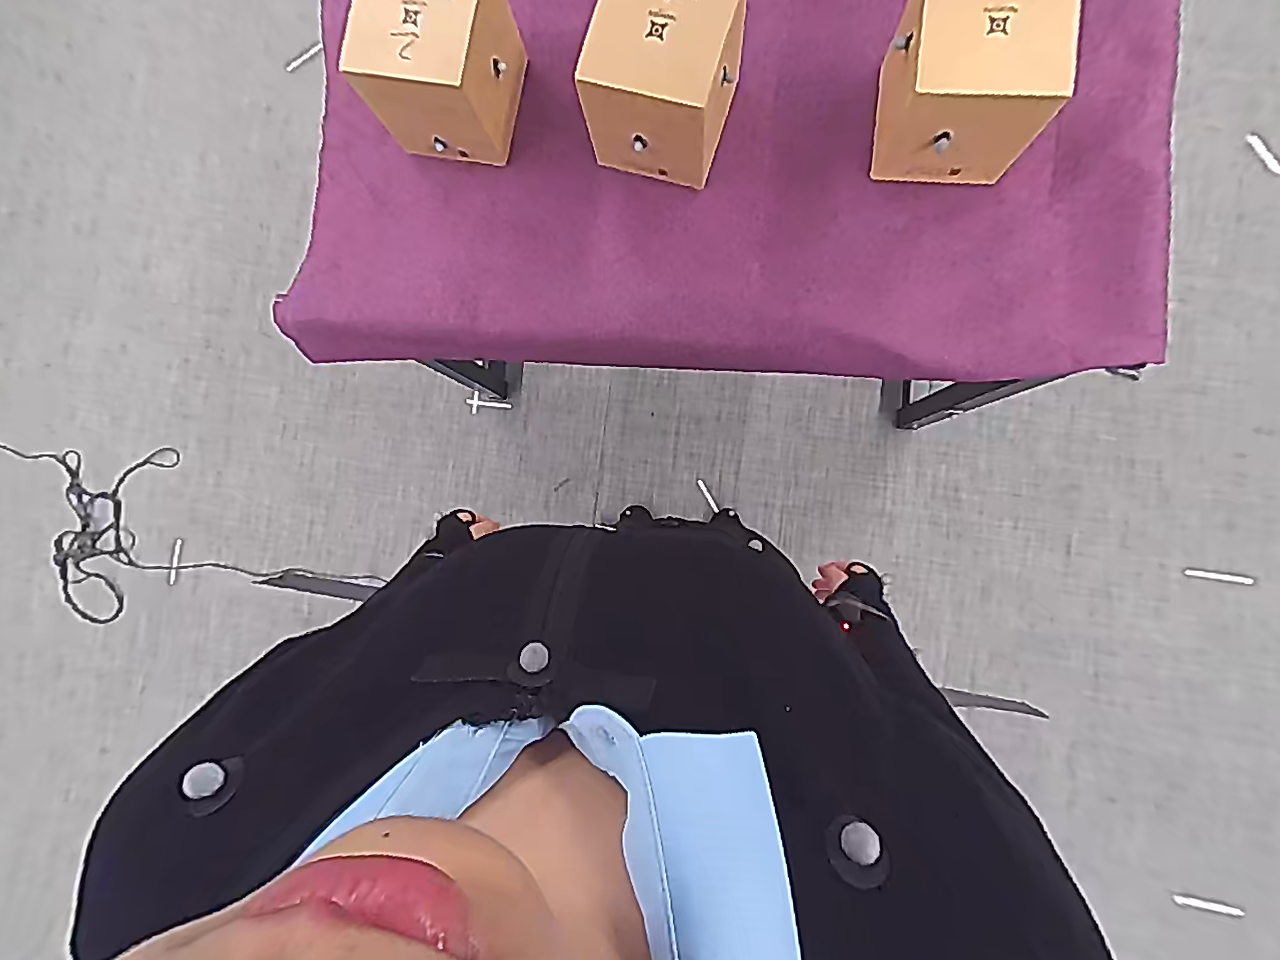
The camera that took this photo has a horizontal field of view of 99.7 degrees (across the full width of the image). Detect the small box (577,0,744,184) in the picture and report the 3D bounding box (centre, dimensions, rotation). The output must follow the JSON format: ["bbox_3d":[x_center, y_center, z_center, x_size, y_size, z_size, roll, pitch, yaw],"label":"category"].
[{"bbox_3d":[0.034,-0.536,0.722,0.168,0.176,0.179,18,89,6],"label":"small box"}]

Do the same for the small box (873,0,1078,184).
[{"bbox_3d":[0.408,-0.506,0.684,0.168,0.176,0.179,7,87,7],"label":"small box"}]
